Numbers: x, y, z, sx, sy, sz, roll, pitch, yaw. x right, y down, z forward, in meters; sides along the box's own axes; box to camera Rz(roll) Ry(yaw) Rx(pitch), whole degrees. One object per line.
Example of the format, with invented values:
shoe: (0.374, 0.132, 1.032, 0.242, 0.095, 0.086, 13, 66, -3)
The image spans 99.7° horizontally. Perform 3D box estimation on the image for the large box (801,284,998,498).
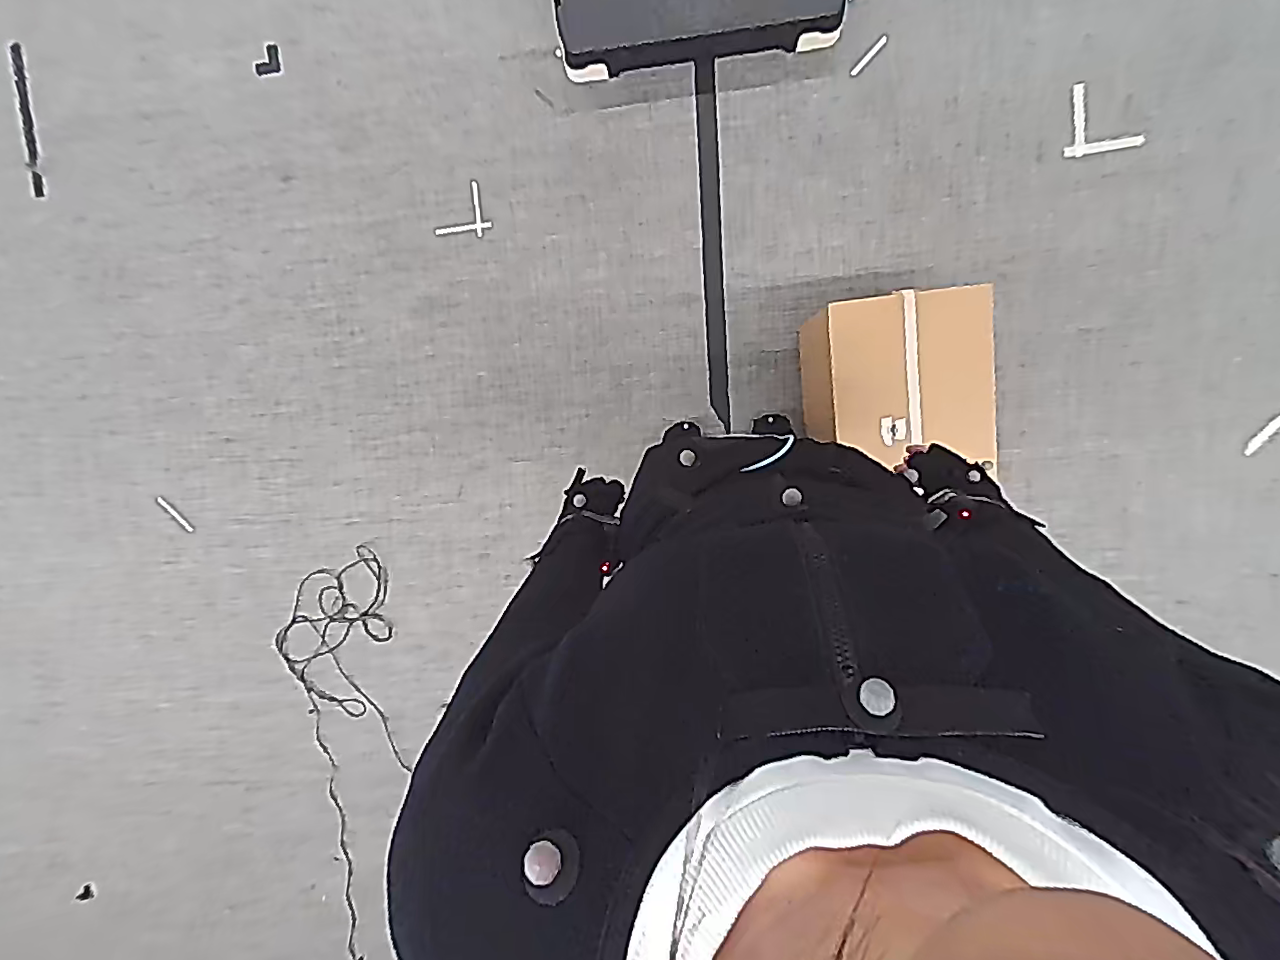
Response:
large box: (0.567, -0.193, 1.235, 0.320, 0.320, 0.408, -5, 97, 7)
